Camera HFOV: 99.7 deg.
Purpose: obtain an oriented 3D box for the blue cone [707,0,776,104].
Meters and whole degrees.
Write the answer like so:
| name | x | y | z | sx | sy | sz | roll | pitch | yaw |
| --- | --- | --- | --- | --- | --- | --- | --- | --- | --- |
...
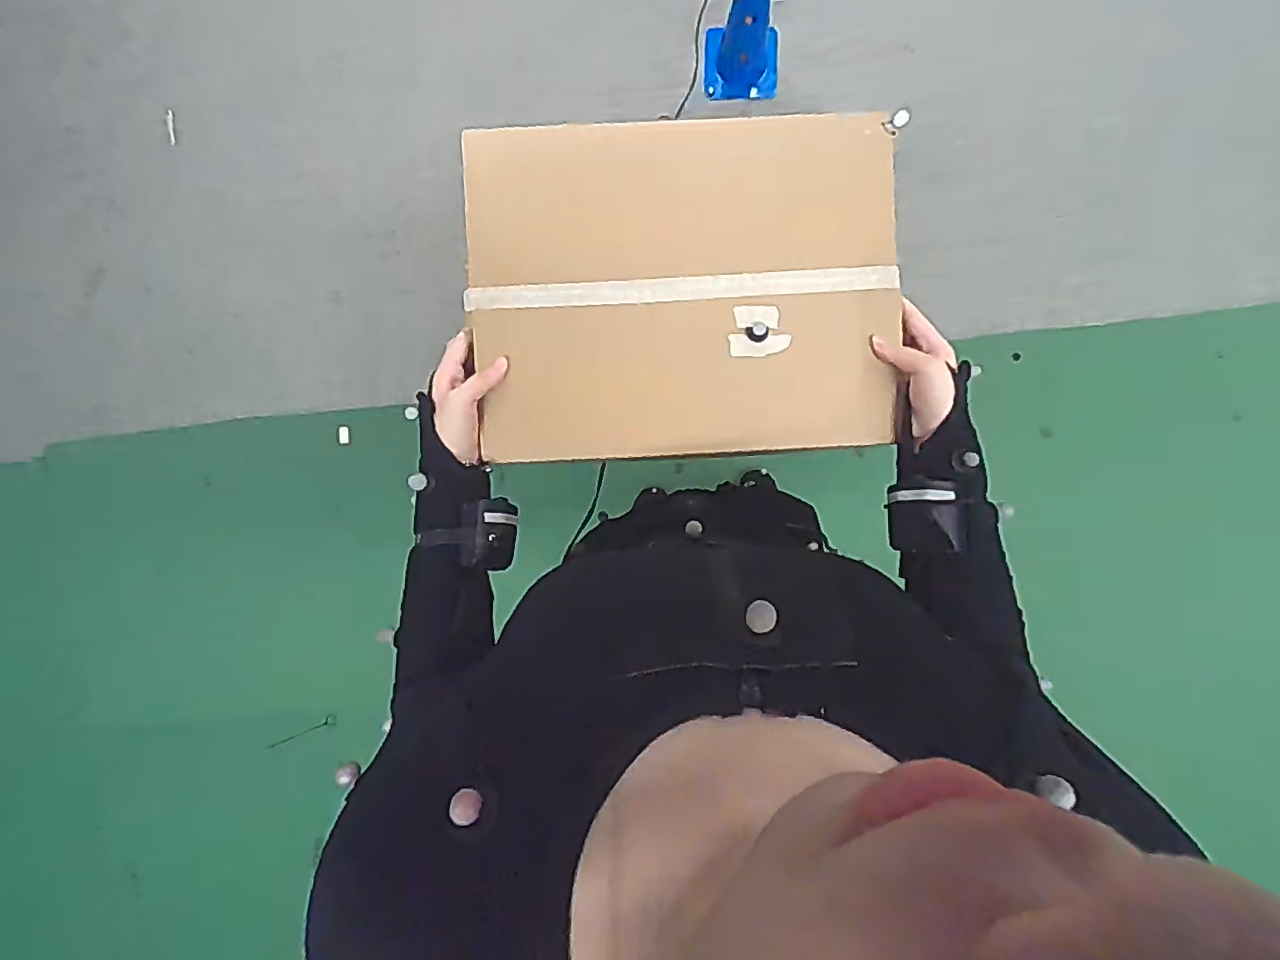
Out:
| name | x | y | z | sx | sy | sz | roll | pitch | yaw |
| --- | --- | --- | --- | --- | --- | --- | --- | --- | --- |
| blue cone | 0.275 | -1.144 | 1.340 | 0.193 | 0.380 | 0.192 | 2 | 90 | 3 |

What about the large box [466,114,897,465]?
| name | x | y | z | sx | sy | sz | roll | pitch | yaw |
| --- | --- | --- | --- | --- | --- | --- | --- | --- | --- |
| large box | 0.038 | -0.188 | 0.666 | 0.408 | 0.320 | 0.320 | -3 | 92 | -1 |
